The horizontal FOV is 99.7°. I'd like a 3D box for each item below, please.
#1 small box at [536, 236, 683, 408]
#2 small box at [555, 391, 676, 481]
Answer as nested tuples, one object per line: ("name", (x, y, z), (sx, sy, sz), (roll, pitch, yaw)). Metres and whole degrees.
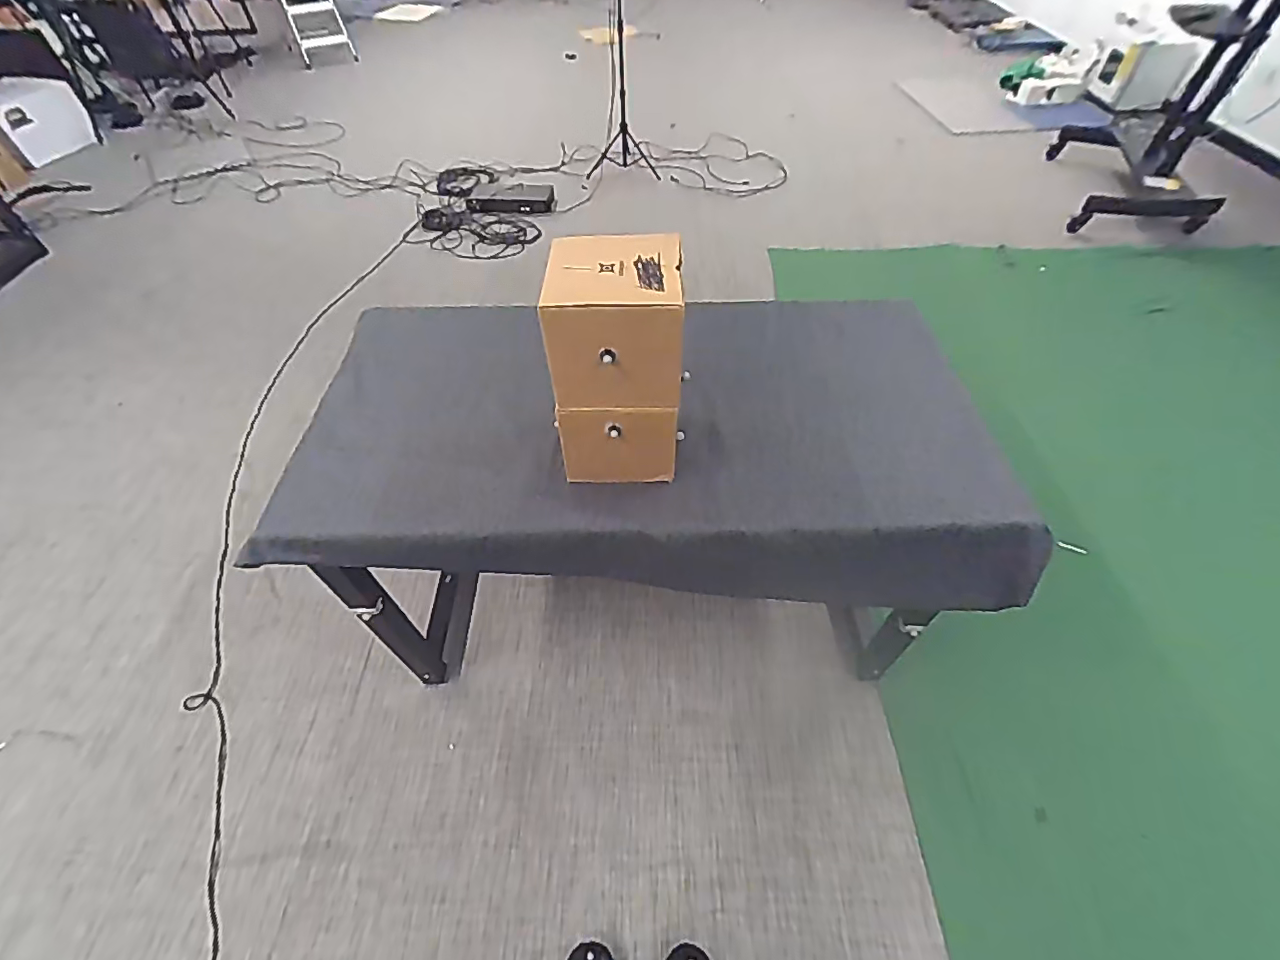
("small box", (-0.033, -0.214, 0.749), (0.179, 0.176, 0.168), (0, 52, 2))
("small box", (-0.034, -0.110, 0.876), (0.179, 0.176, 0.168), (0, 52, 0))
